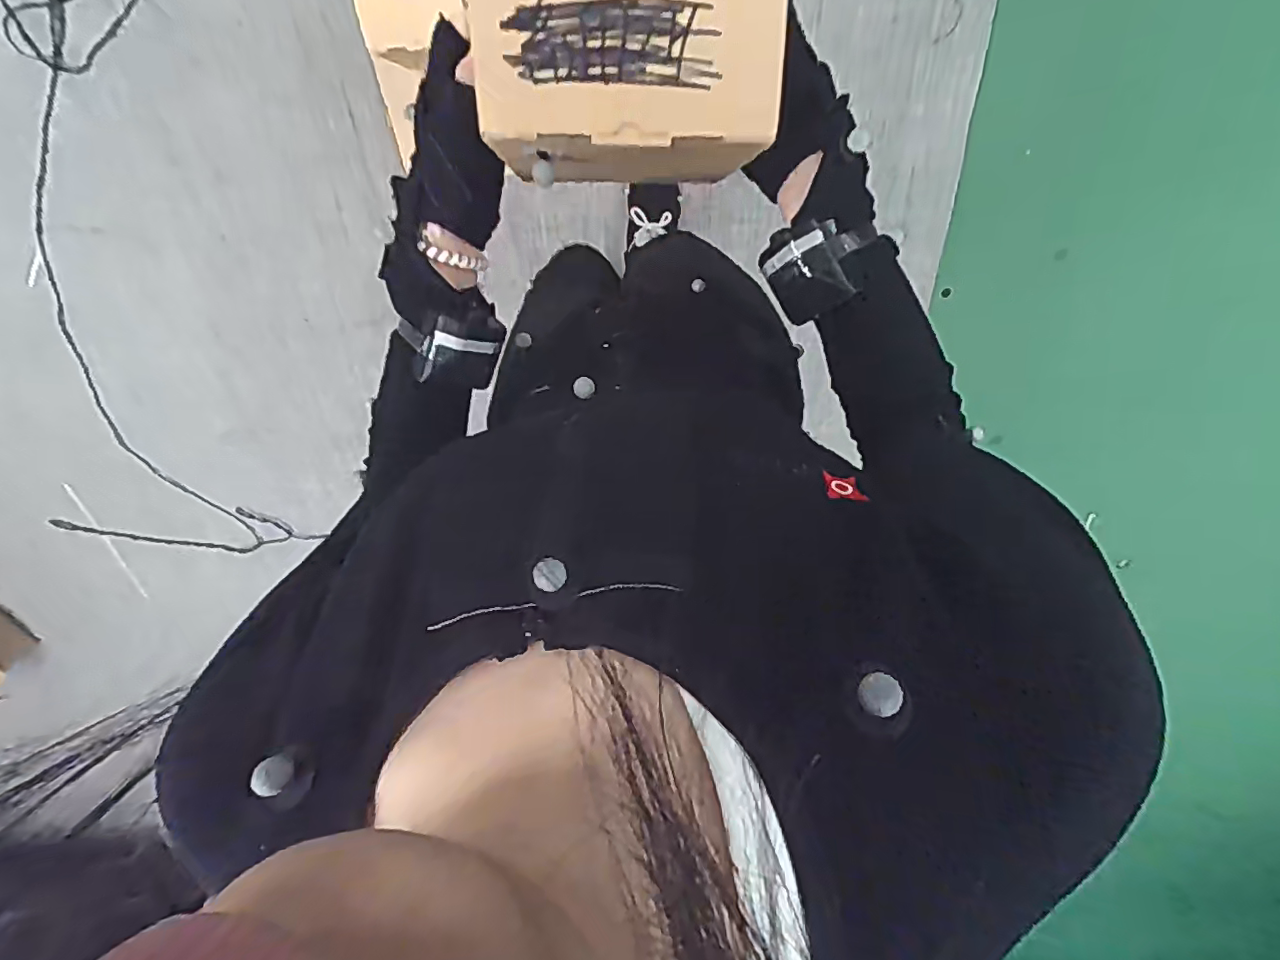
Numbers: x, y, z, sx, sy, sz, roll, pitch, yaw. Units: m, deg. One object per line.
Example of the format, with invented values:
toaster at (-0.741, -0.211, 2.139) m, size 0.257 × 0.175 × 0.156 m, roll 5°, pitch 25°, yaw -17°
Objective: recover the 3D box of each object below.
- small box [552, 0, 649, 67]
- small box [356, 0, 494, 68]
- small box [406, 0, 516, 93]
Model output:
small box at (-0.069, -0.880, 0.992) m, size 0.168 × 0.176 × 0.179 m, roll 0°, pitch 122°, yaw 2°
small box at (-0.346, -0.785, 0.861) m, size 0.168 × 0.176 × 0.179 m, roll -4°, pitch 121°, yaw 3°
small box at (-0.345, -0.845, 1.015) m, size 0.168 × 0.176 × 0.179 m, roll -6°, pitch 121°, yaw 5°
